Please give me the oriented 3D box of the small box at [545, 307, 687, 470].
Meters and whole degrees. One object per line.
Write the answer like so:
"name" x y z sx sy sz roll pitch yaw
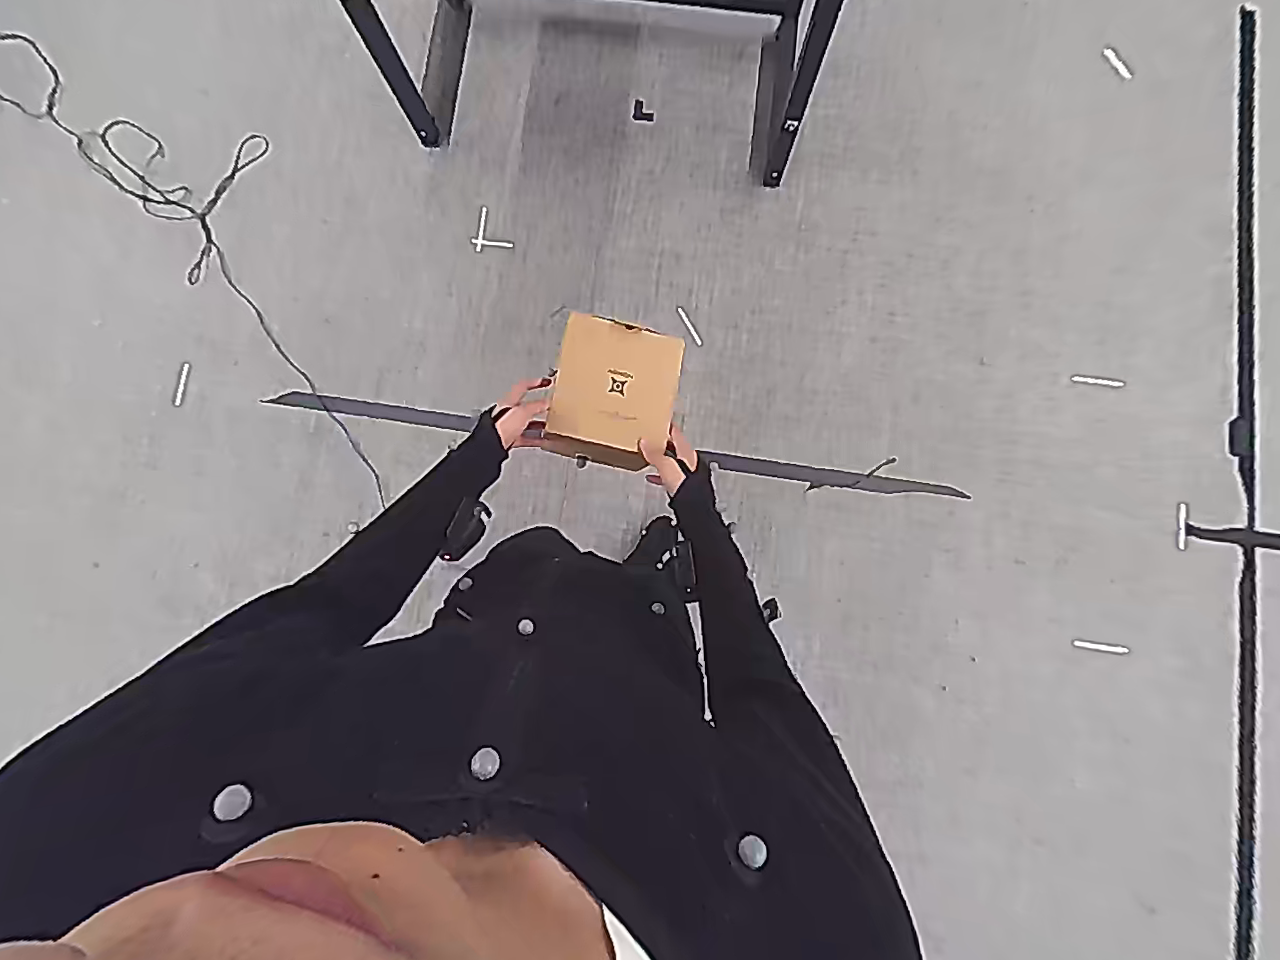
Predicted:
"small box" -0.044 -0.124 0.806 0.168 0.176 0.179 12 81 -11
